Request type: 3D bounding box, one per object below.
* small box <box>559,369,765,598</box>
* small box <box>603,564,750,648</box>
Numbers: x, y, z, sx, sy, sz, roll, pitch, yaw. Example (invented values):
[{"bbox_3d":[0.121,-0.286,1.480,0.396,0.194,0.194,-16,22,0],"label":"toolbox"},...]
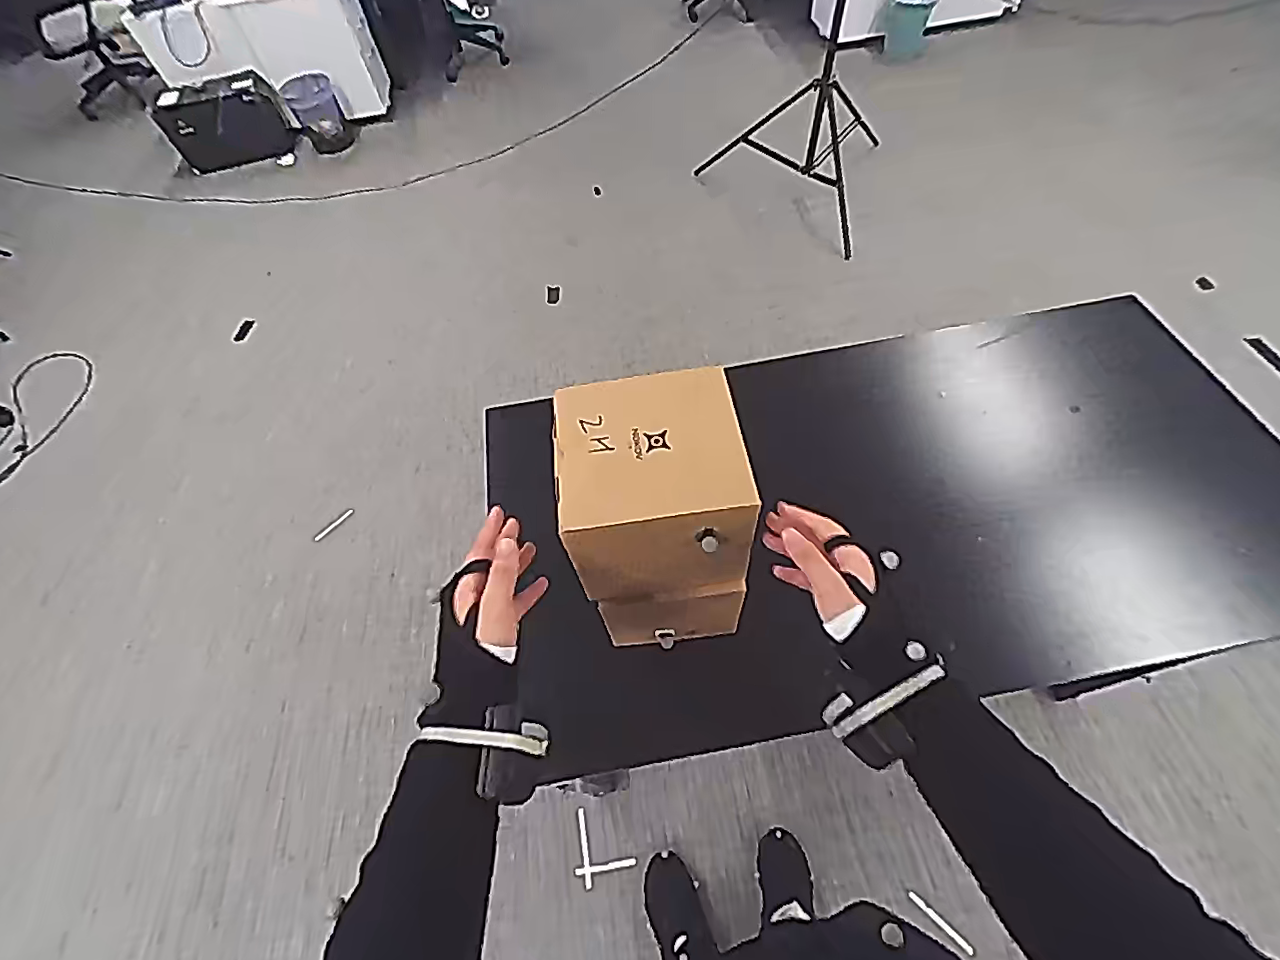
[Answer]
[{"bbox_3d":[0.019,0.011,0.566,0.179,0.176,0.168,-8,57,1],"label":"small box"},{"bbox_3d":[0.038,0.102,0.703,0.168,0.176,0.179,-8,59,1],"label":"small box"}]
